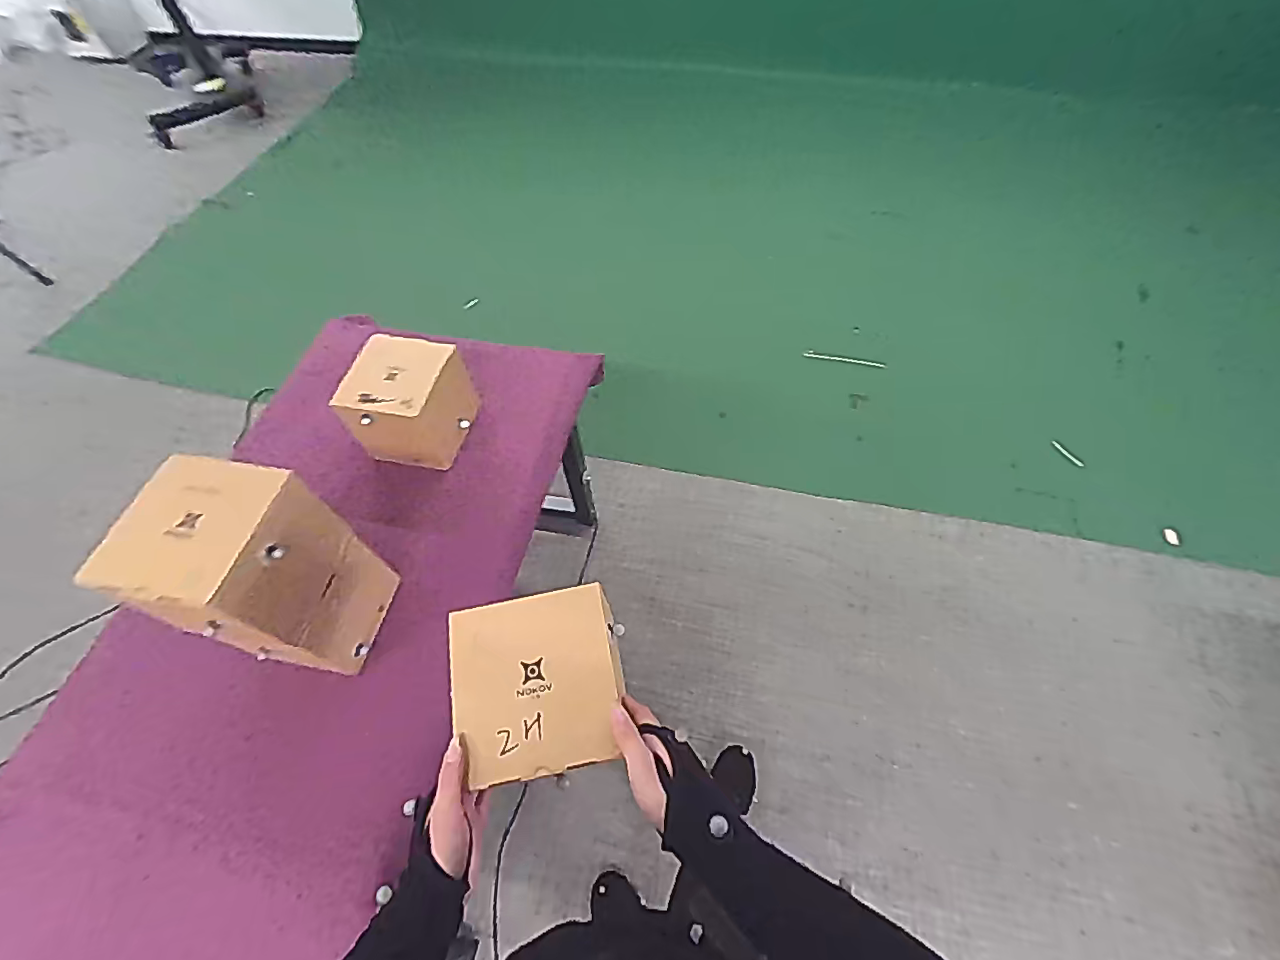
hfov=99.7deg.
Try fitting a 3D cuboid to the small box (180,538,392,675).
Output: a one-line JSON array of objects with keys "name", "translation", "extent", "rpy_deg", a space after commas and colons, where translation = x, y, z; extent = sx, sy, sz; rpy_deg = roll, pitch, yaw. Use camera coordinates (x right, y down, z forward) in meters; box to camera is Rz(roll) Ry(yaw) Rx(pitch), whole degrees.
[{"name": "small box", "translation": [-0.510, 0.183, 0.814], "extent": [0.179, 0.176, 0.168], "rpy_deg": [8, 58, 7]}]

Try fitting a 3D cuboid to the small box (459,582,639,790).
[{"name": "small box", "translation": [-0.096, 0.235, 0.611], "extent": [0.168, 0.176, 0.179], "rpy_deg": [-10, 63, -3]}]

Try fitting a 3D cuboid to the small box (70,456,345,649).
[{"name": "small box", "translation": [-0.510, 0.096, 0.676], "extent": [0.168, 0.176, 0.179], "rpy_deg": [9, 57, 6]}]

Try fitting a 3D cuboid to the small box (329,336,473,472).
[{"name": "small box", "translation": [-0.432, -0.141, 1.018], "extent": [0.168, 0.176, 0.179], "rpy_deg": [9, 58, 8]}]
